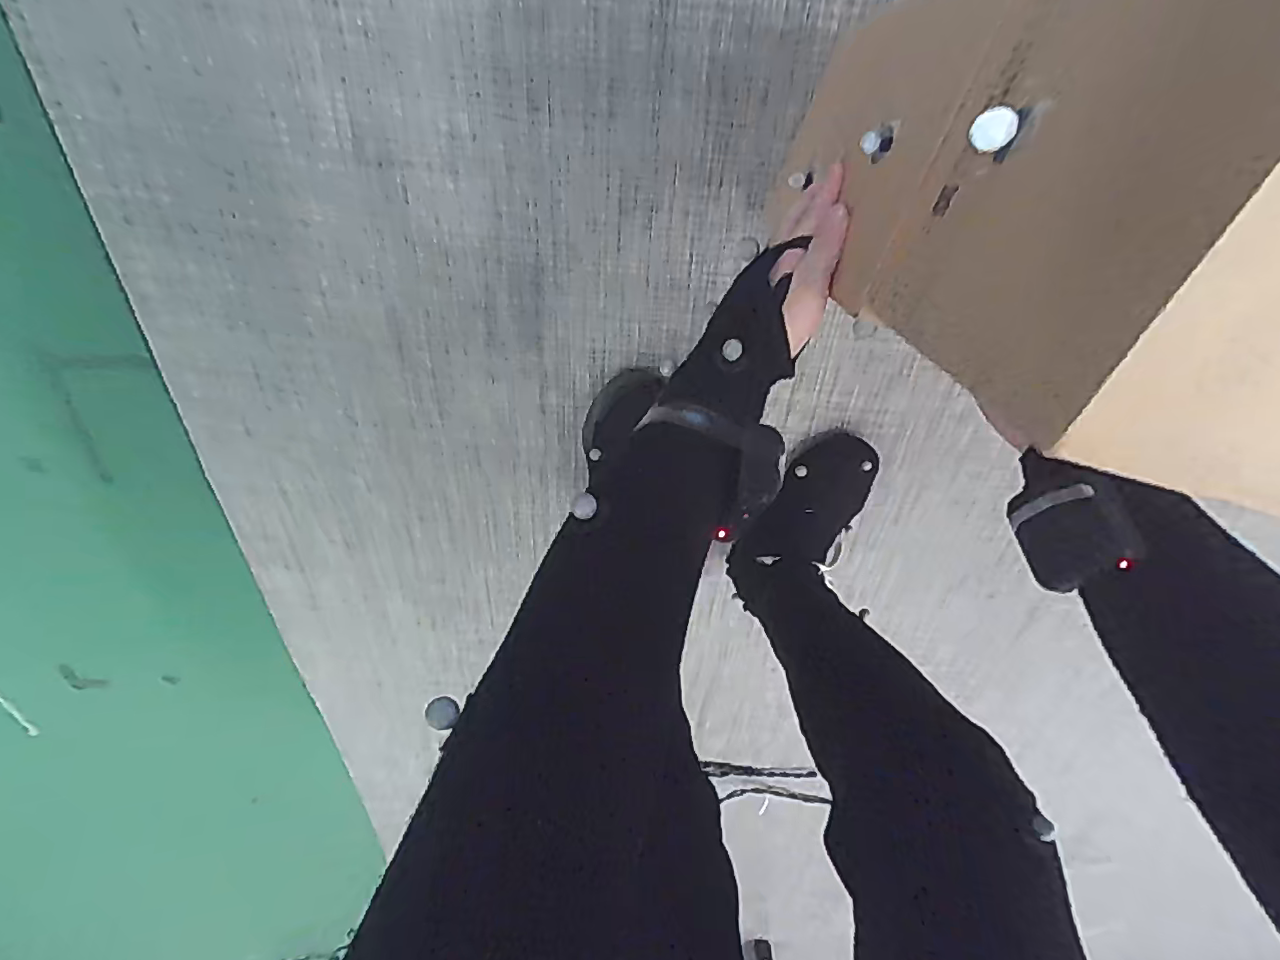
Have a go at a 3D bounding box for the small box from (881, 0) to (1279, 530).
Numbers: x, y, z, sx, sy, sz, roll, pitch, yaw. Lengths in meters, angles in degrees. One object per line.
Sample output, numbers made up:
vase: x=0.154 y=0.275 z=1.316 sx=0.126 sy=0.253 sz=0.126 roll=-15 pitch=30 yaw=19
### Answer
small box: x=0.223 y=-0.093 z=0.187 sx=0.179 sy=0.176 sz=0.168 roll=16 pitch=122 yaw=-7

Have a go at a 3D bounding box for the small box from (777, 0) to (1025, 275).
small box: x=0.234 y=-0.275 z=0.462 sx=0.168 sy=0.176 sz=0.179 roll=20 pitch=120 yaw=-10
